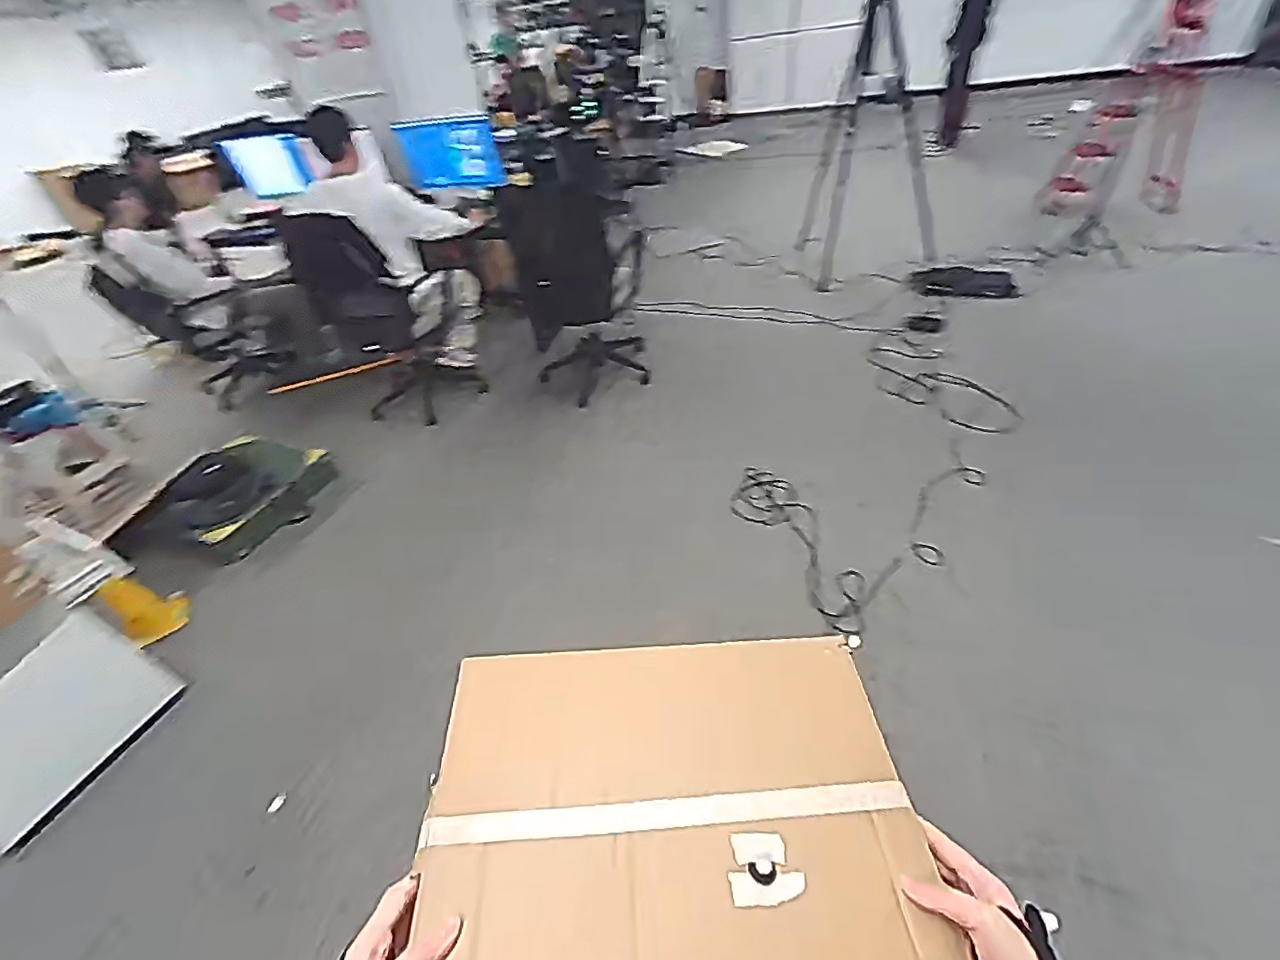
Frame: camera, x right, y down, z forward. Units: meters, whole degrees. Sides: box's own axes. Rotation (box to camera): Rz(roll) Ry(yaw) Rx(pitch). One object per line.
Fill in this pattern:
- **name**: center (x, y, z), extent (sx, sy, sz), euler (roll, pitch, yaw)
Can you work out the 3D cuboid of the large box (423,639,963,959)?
- **large box**: center (0.030, 0.392, 0.569), extent (0.408, 0.320, 0.320), euler (-1, 43, -3)
